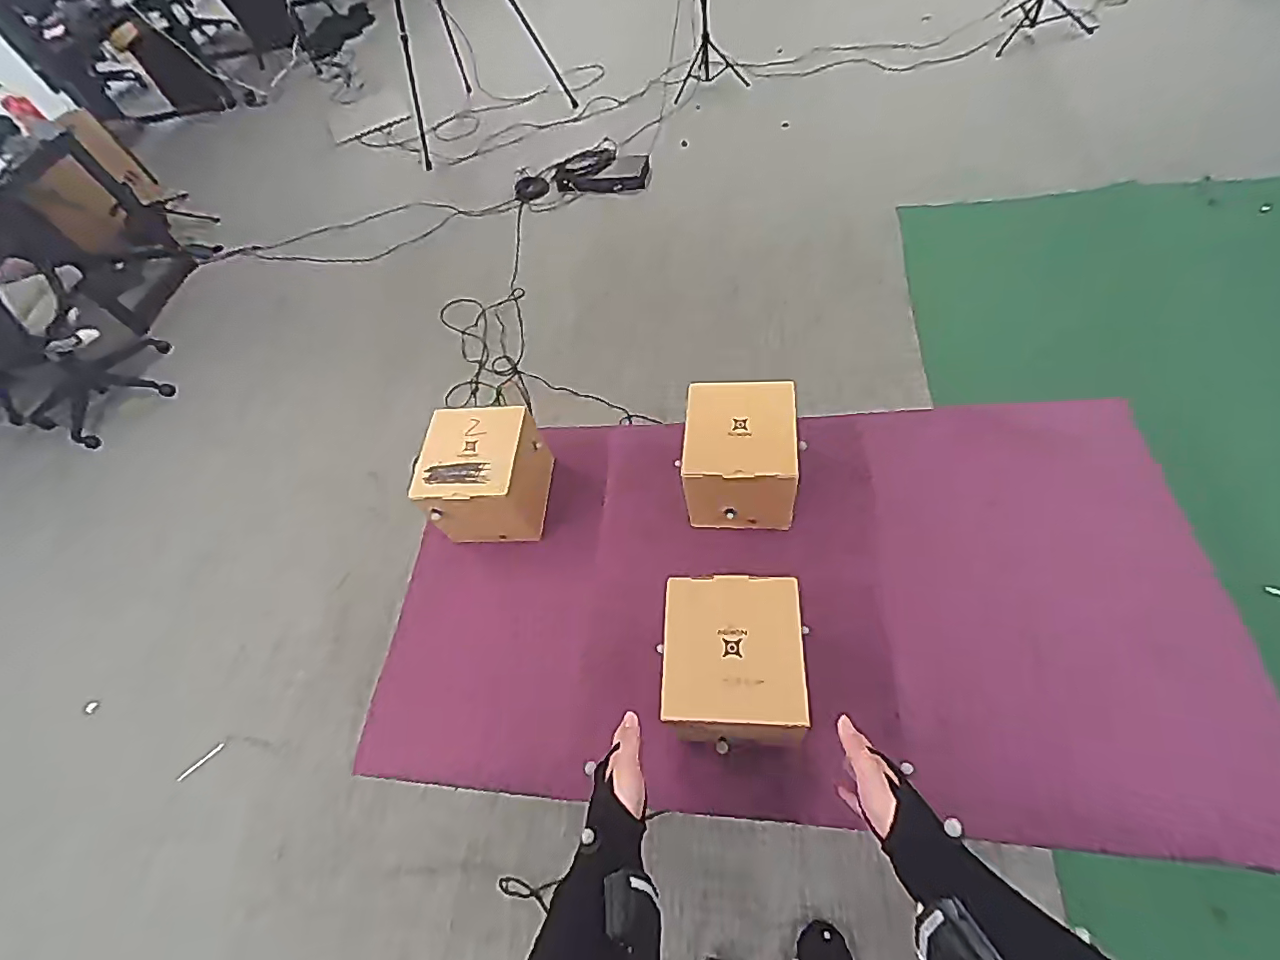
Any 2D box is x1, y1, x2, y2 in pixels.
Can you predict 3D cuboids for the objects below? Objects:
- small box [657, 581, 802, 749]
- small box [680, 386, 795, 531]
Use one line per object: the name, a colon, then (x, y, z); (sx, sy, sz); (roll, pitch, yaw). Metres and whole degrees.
small box: (0.120, 0.246, 0.717); (0.168, 0.176, 0.179); (-2, 58, 12)
small box: (0.160, -0.032, 0.882); (0.168, 0.176, 0.179); (0, 61, 12)
